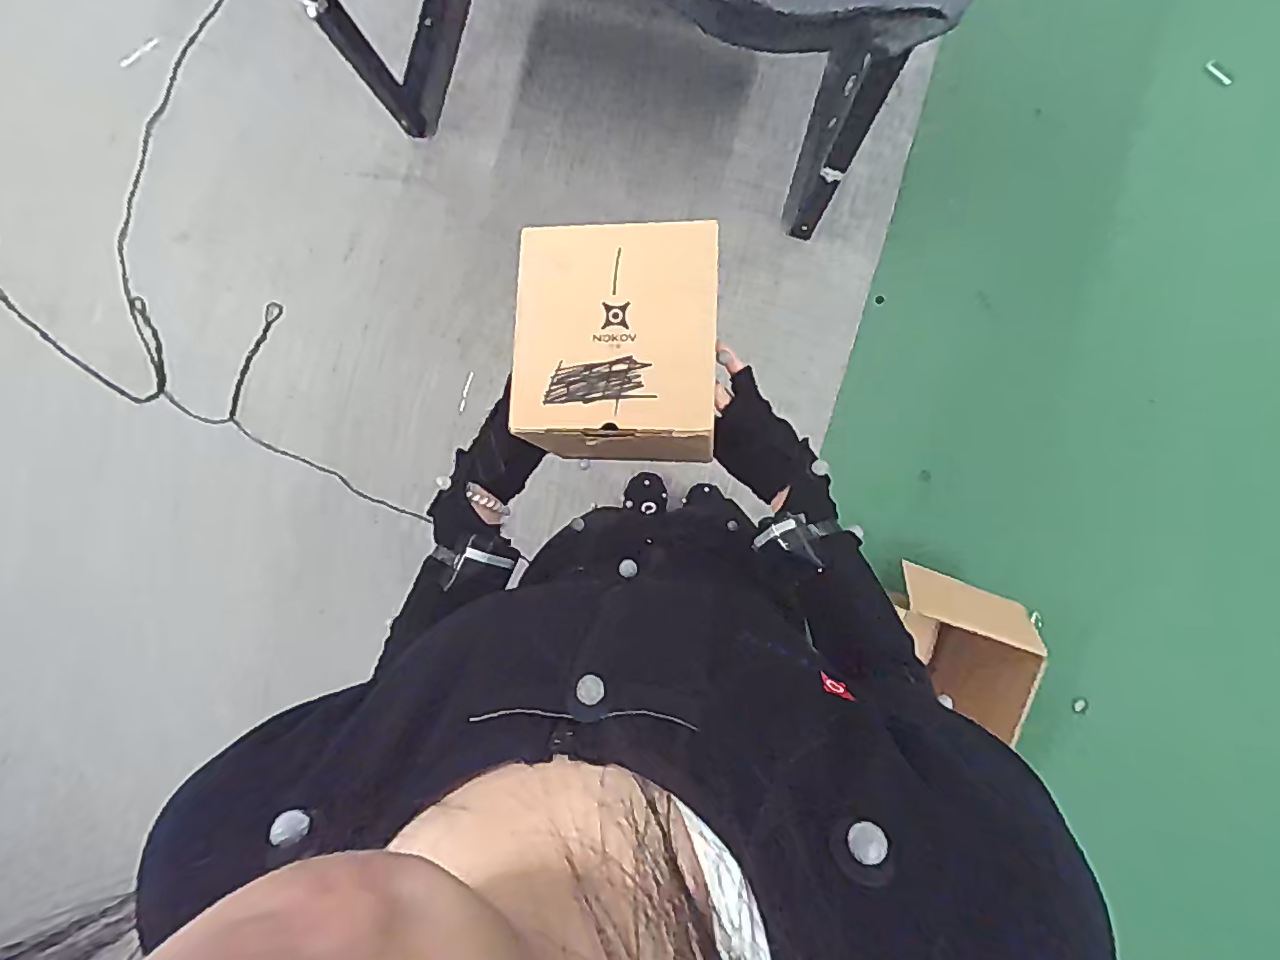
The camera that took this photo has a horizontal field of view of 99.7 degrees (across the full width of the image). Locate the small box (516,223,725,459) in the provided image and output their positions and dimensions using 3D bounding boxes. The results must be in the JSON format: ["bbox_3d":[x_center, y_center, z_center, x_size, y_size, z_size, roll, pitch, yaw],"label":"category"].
[{"bbox_3d":[-0.007,-0.116,0.514,0.168,0.176,0.179,2,84,6],"label":"small box"}]
